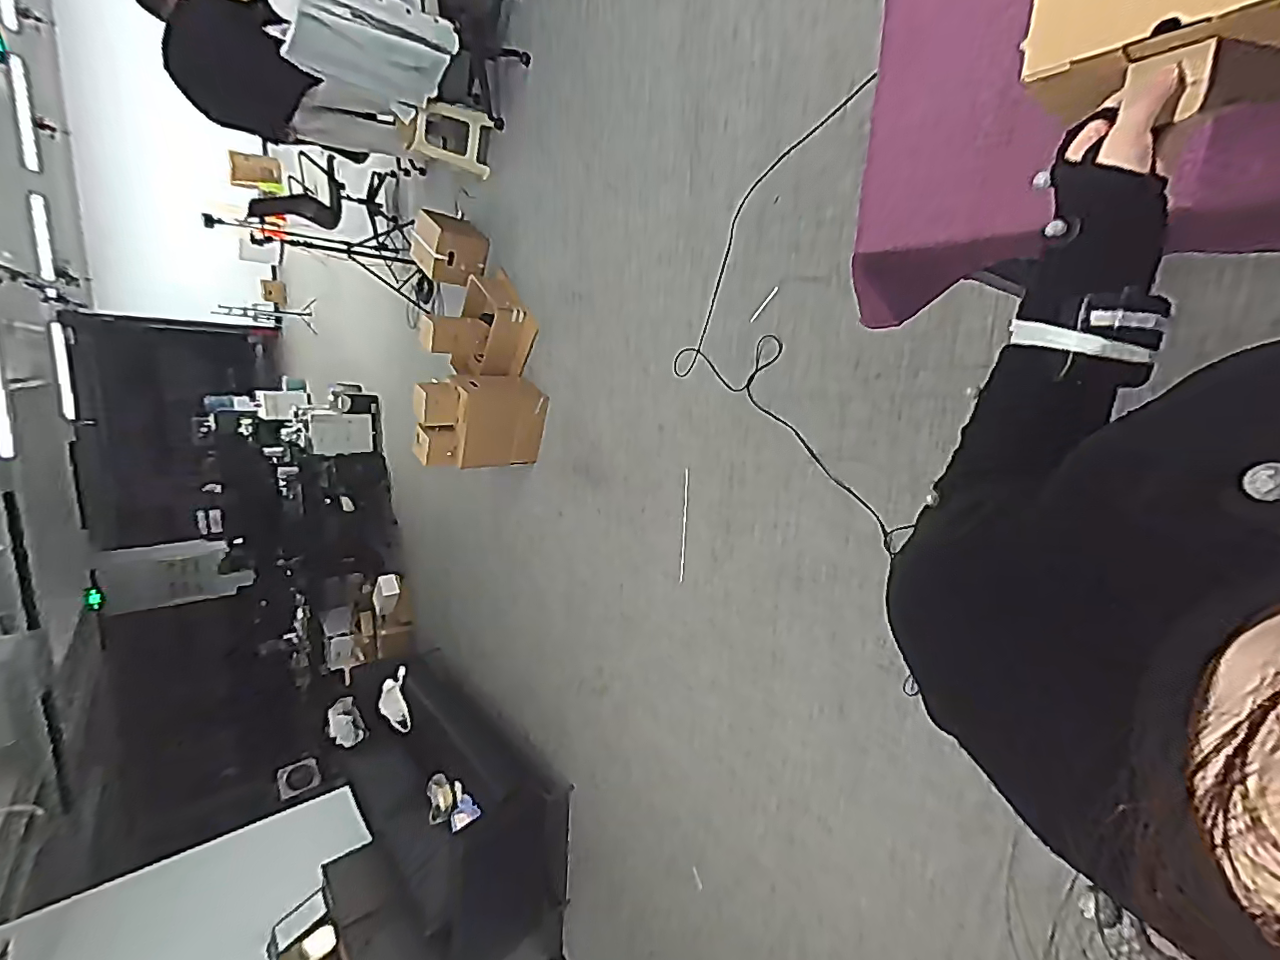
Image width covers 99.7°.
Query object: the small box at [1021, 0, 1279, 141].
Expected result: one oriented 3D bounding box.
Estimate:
[{"bbox_3d":[0.424,-0.394,0.407,0.168,0.176,0.179,17,108,49],"label":"small box"}]
